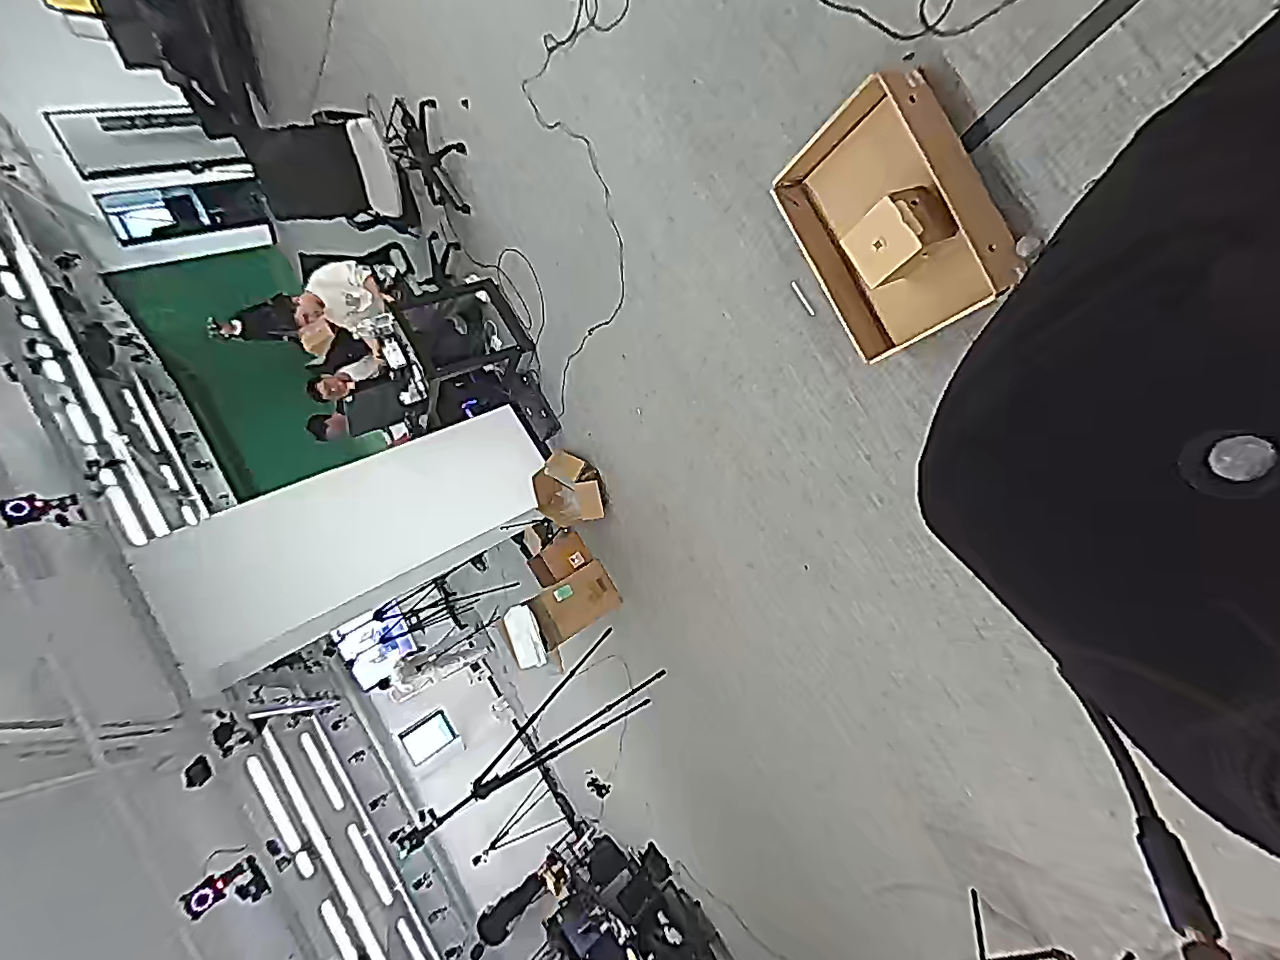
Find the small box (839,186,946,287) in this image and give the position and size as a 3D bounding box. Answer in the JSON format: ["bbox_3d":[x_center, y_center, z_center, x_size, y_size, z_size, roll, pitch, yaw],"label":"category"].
[{"bbox_3d":[0.679,-0.652,1.442,0.168,0.176,0.179,60,150,5],"label":"small box"}]
